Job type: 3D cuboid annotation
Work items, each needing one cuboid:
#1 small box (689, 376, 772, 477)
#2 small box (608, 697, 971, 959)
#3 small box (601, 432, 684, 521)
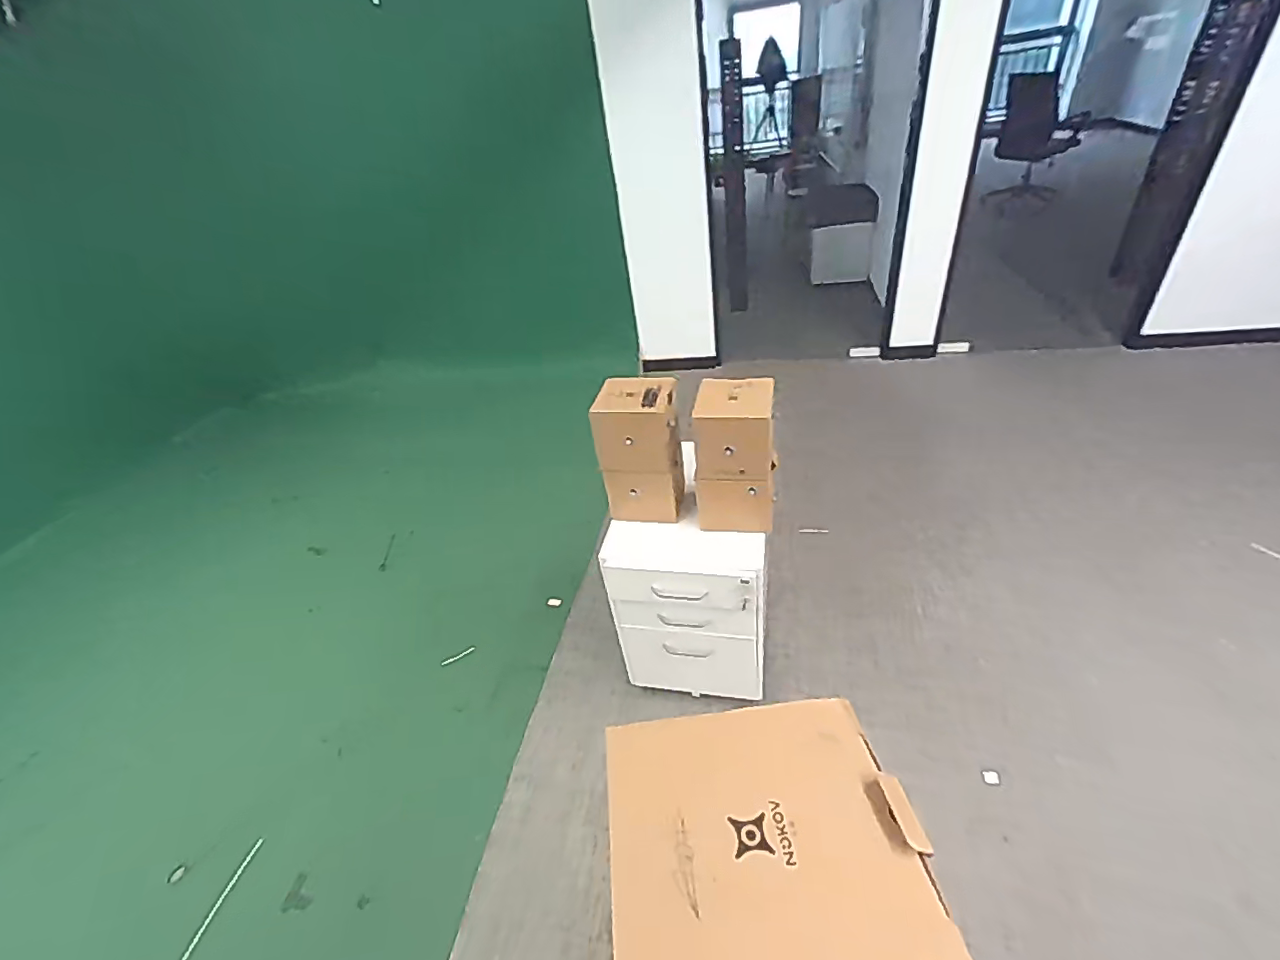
[{"bbox_3d":[0.213,-0.121,1.236,0.168,0.176,0.179,2,39,15],"label":"small box"},{"bbox_3d":[0.077,0.276,0.357,0.179,0.176,0.168,-8,30,-1],"label":"small box"},{"bbox_3d":[0.014,-0.009,1.408,0.179,0.176,0.168,2,39,13],"label":"small box"}]
